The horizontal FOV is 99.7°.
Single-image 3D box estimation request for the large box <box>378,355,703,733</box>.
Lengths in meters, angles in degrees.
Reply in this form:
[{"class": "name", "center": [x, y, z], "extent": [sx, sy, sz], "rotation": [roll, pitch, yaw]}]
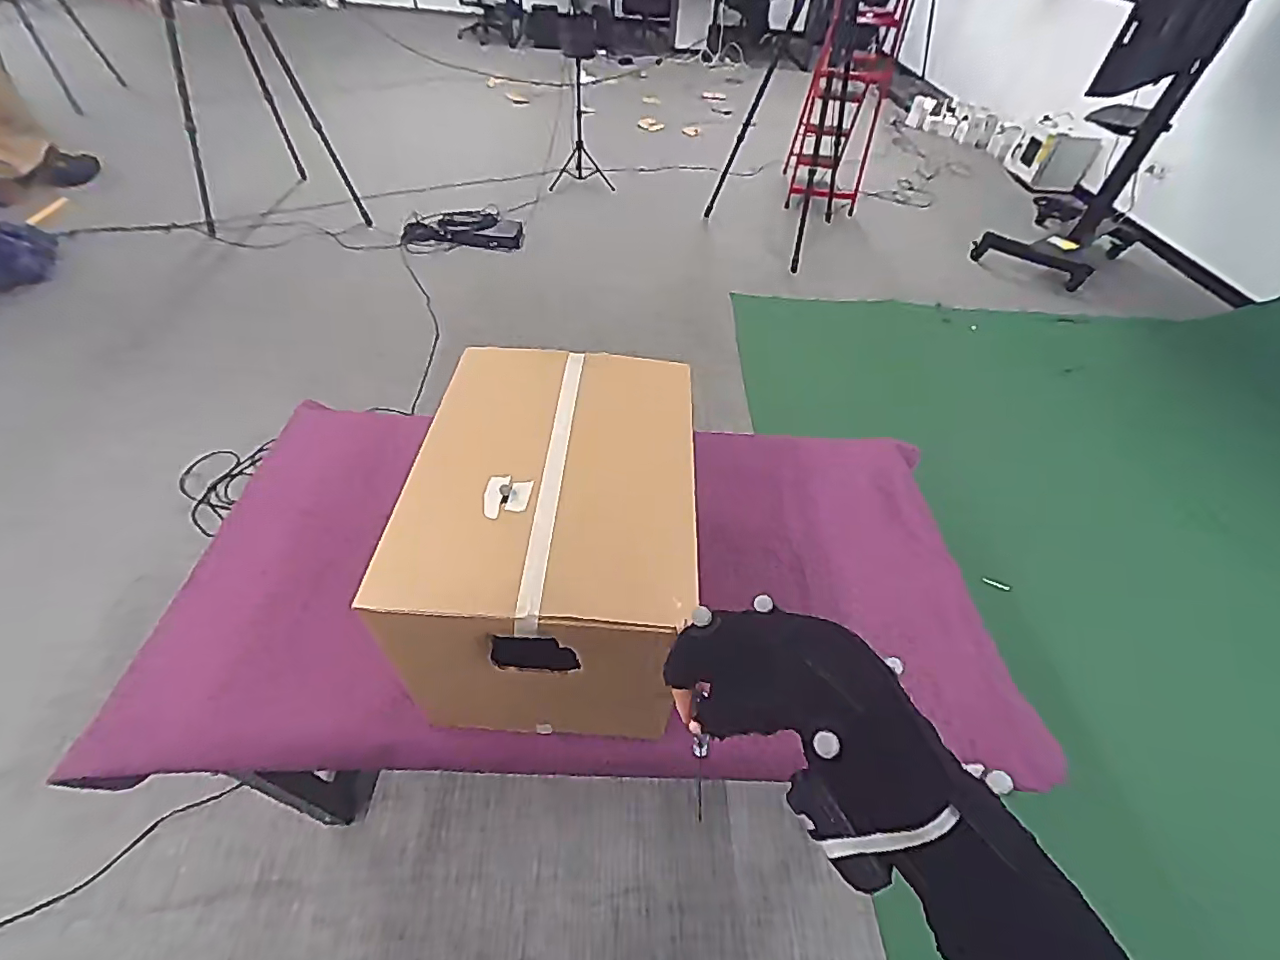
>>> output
[{"class": "large box", "center": [-0.100, 0.084, 0.745], "extent": [0.320, 0.320, 0.408], "rotation": [5, 49, -1]}]
